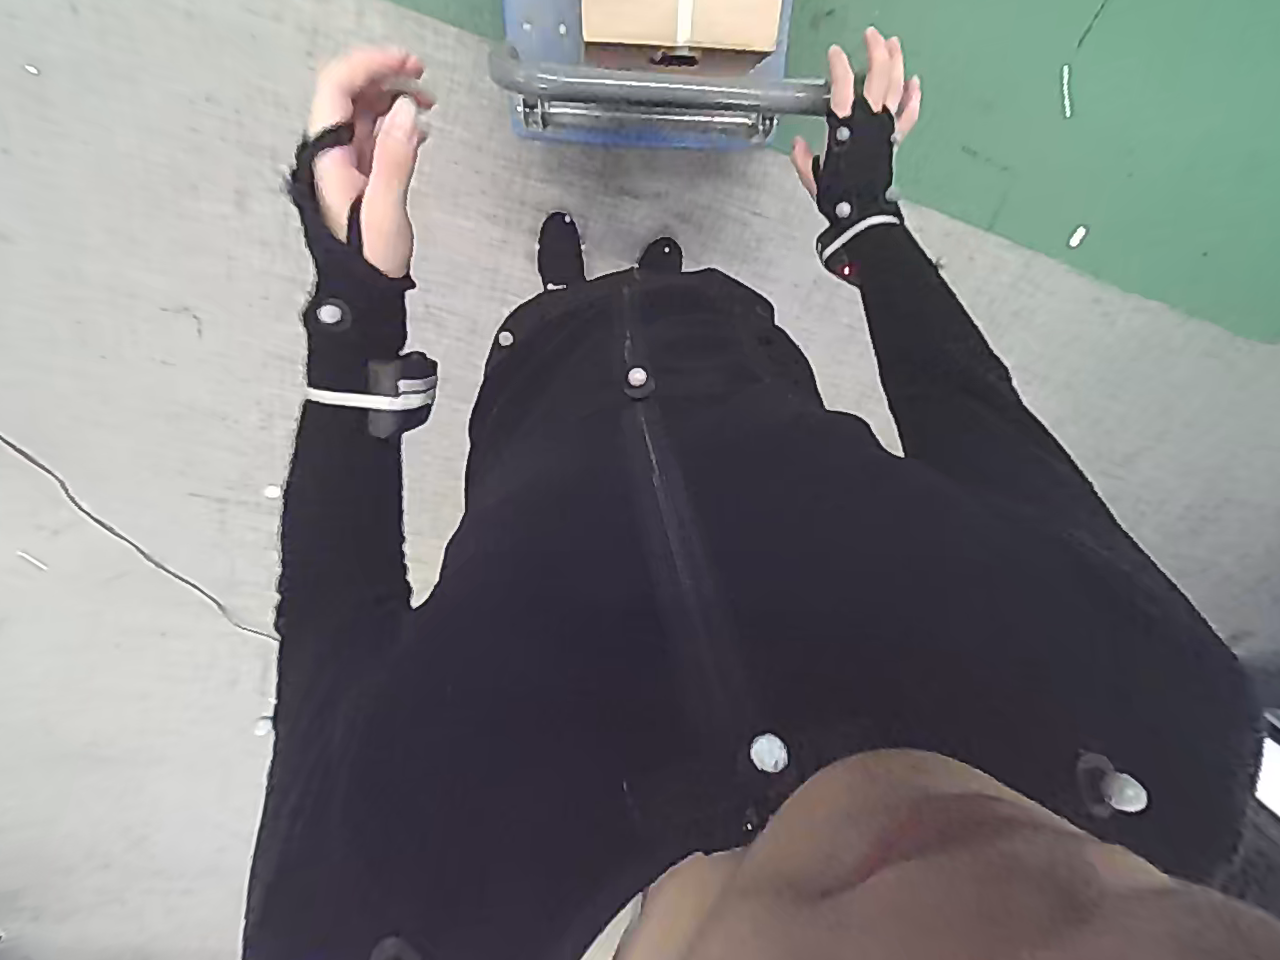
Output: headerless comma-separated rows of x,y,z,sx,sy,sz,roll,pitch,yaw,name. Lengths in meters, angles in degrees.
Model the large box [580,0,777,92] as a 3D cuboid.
0.052,-0.931,0.919,0.320,0.320,0.408,-1,116,-6,large box
